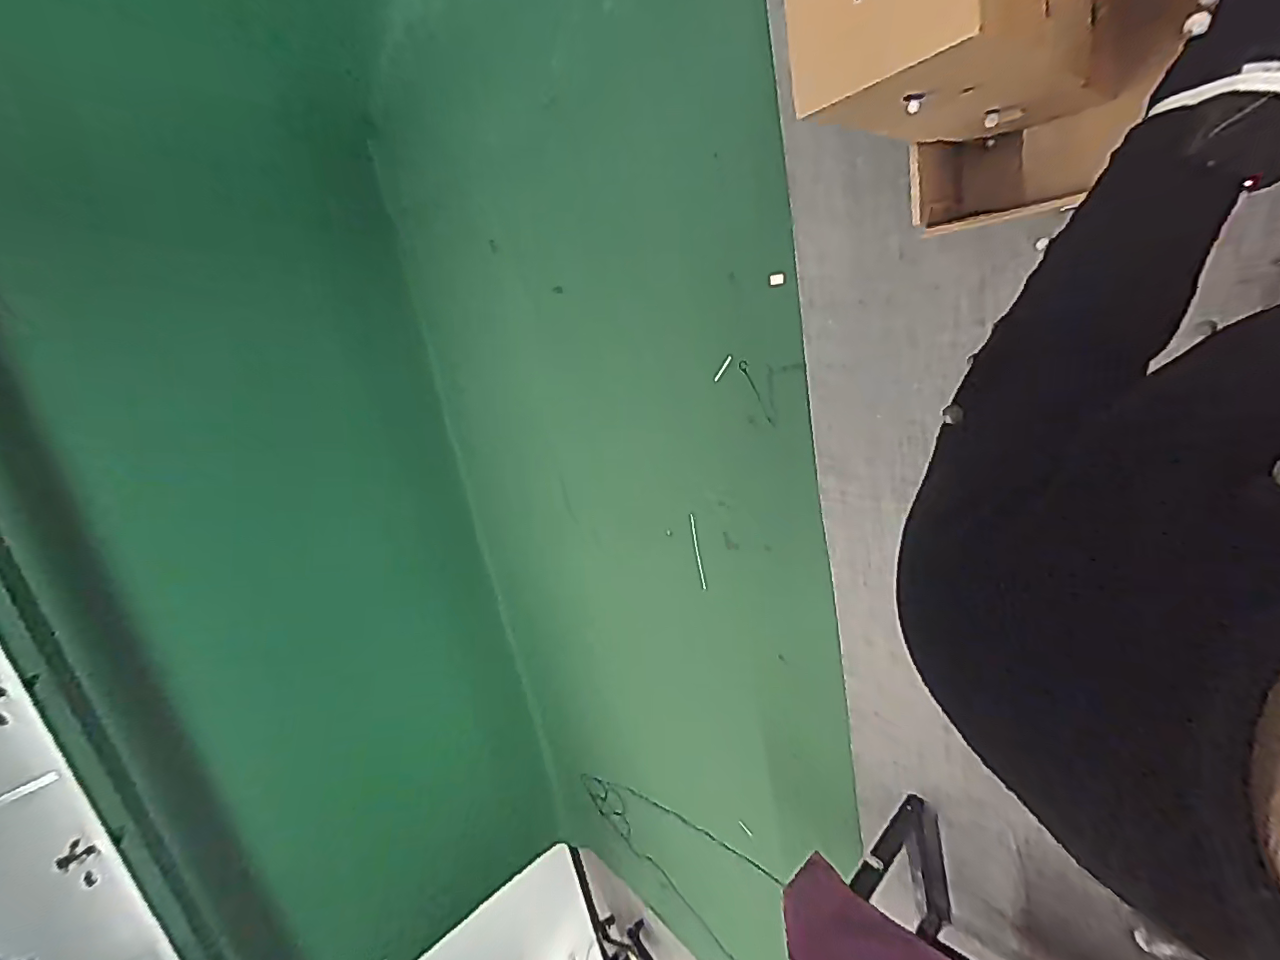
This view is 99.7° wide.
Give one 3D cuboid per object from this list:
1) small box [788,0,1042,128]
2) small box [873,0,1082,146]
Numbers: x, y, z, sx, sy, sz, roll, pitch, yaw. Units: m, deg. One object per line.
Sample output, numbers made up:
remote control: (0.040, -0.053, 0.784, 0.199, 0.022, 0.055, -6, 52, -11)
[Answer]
small box: (0.259, -0.456, 0.510, 0.168, 0.176, 0.179, 9, 114, 49)
small box: (0.380, -0.504, 0.613, 0.179, 0.176, 0.168, 6, 111, 49)
